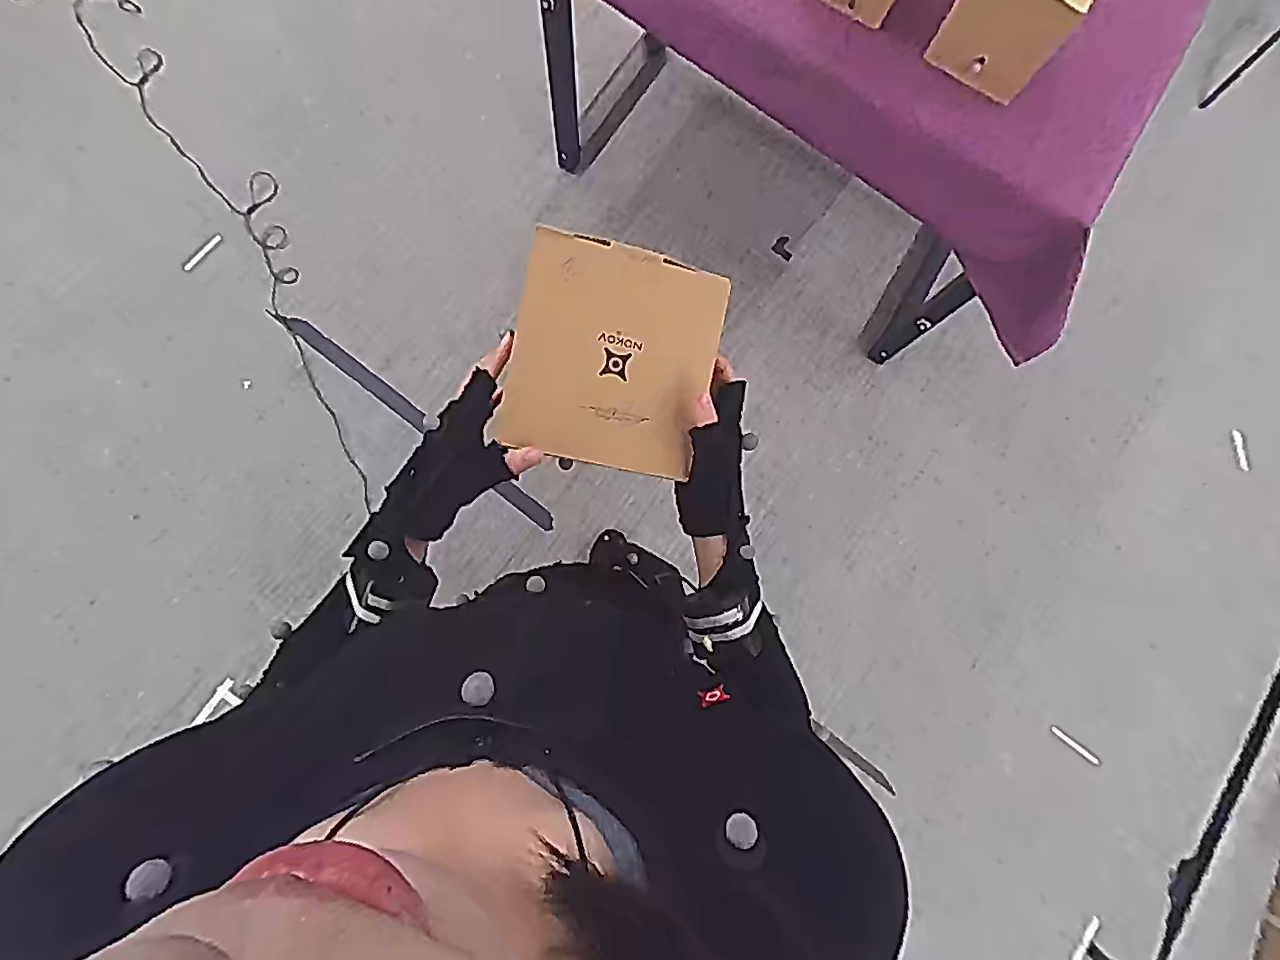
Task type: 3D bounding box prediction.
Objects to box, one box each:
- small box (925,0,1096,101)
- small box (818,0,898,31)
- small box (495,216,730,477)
[{"bbox_3d":[0.627,-0.787,0.903,0.179,0.176,0.168,31,80,1],"label":"small box"},{"bbox_3d":[0.405,-0.929,0.910,0.168,0.176,0.179,30,81,1],"label":"small box"},{"bbox_3d":[-0.036,-0.110,0.509,0.168,0.176,0.179,11,94,-13],"label":"small box"}]
